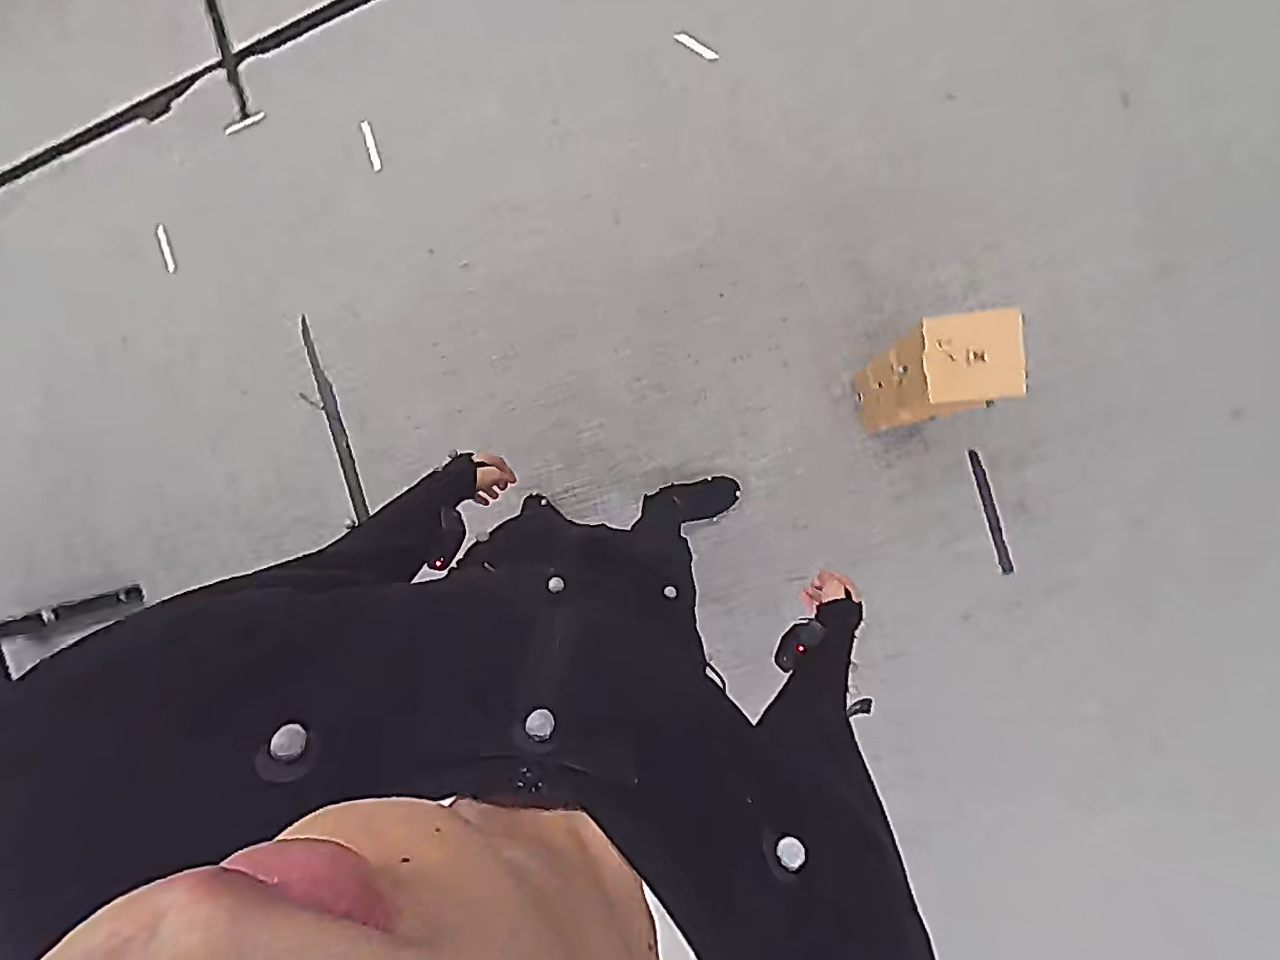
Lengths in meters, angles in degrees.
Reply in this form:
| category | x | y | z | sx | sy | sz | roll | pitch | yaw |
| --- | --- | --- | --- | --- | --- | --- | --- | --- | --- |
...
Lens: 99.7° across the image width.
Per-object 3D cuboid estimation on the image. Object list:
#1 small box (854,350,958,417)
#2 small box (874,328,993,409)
| category | x | y | z | sx | sy | sz | roll | pitch | yaw |
| --- | --- | --- | --- | --- | --- | --- | --- | --- | --- |
| small box | 0.665 | -0.258 | 1.365 | 0.179 | 0.176 | 0.168 | -13 | 92 | 8 |
| small box | 0.644 | -0.256 | 1.205 | 0.179 | 0.176 | 0.168 | -10 | 92 | 9 |
